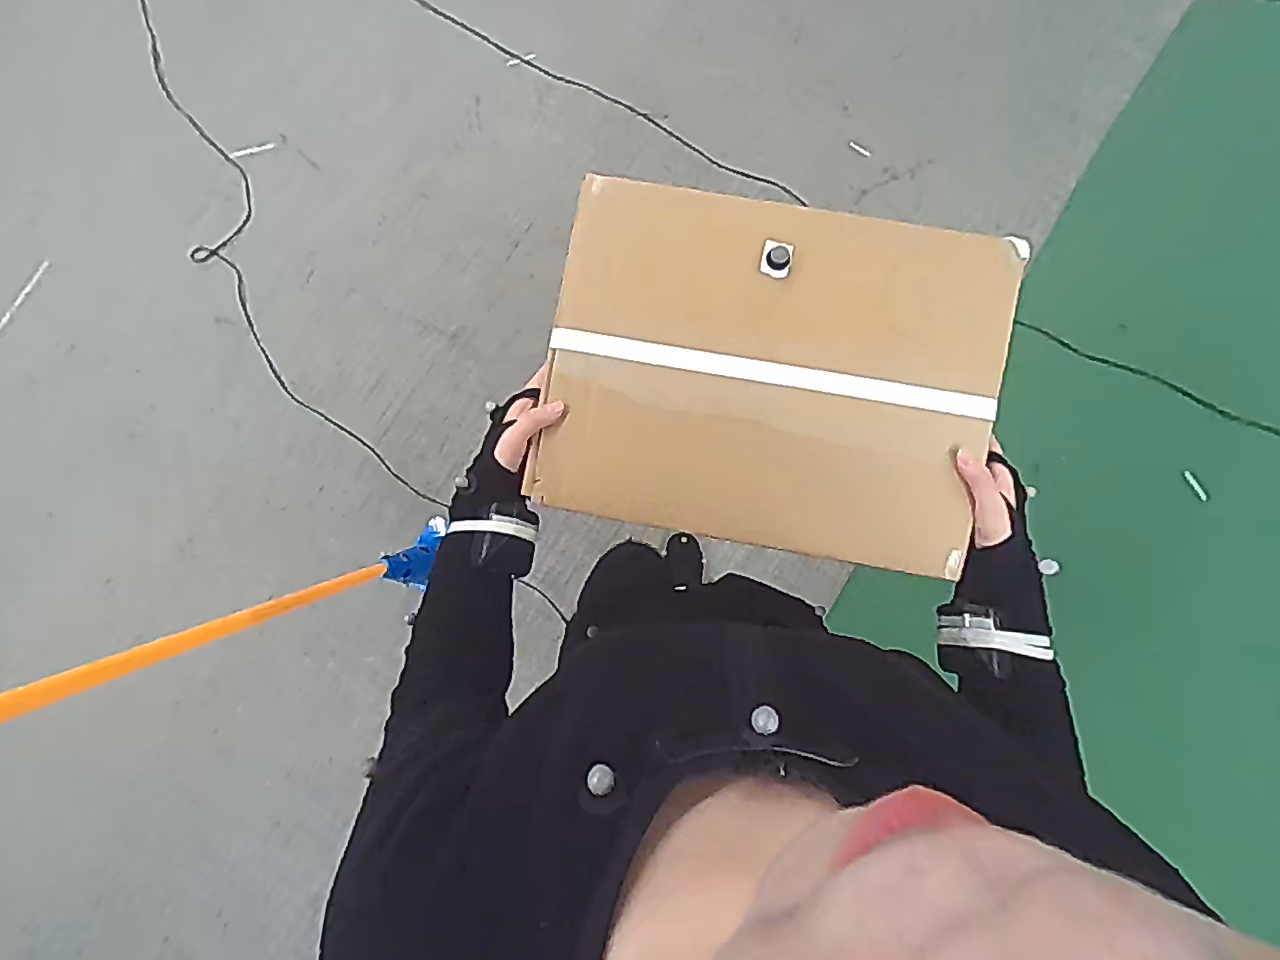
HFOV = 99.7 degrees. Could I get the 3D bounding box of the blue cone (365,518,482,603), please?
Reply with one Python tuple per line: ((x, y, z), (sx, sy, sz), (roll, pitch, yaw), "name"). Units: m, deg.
((-0.549, 0.207, 1.325), (0.192, 0.380, 0.193), (30, 86, 4), "blue cone")
